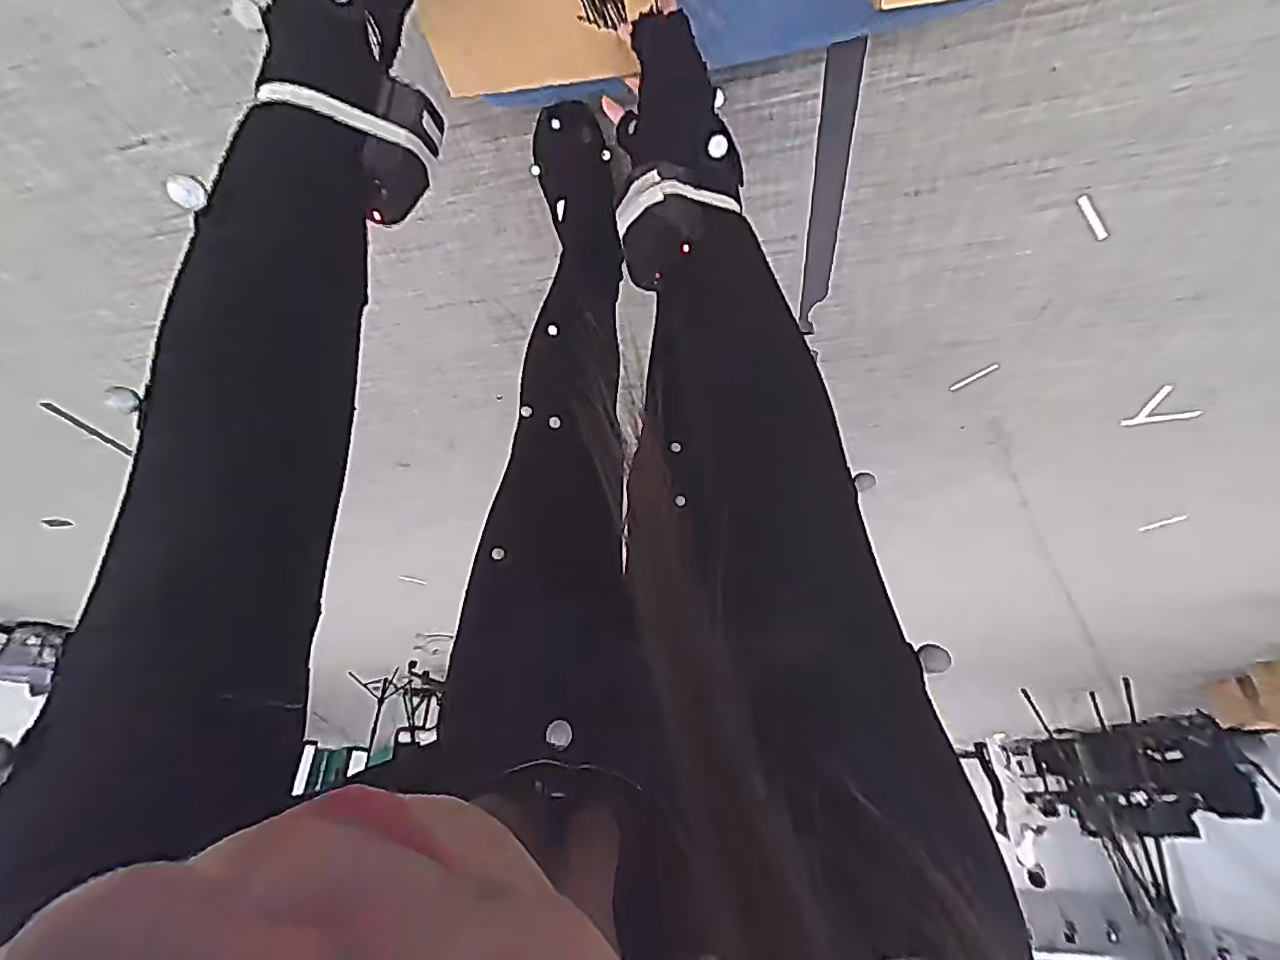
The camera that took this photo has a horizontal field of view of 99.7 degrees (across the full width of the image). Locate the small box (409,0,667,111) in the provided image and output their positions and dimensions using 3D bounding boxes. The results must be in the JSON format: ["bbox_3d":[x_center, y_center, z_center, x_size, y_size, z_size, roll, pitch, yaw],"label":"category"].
[{"bbox_3d":[-0.074,-0.413,0.393,0.179,0.176,0.168,-1,155,9],"label":"small box"}]
